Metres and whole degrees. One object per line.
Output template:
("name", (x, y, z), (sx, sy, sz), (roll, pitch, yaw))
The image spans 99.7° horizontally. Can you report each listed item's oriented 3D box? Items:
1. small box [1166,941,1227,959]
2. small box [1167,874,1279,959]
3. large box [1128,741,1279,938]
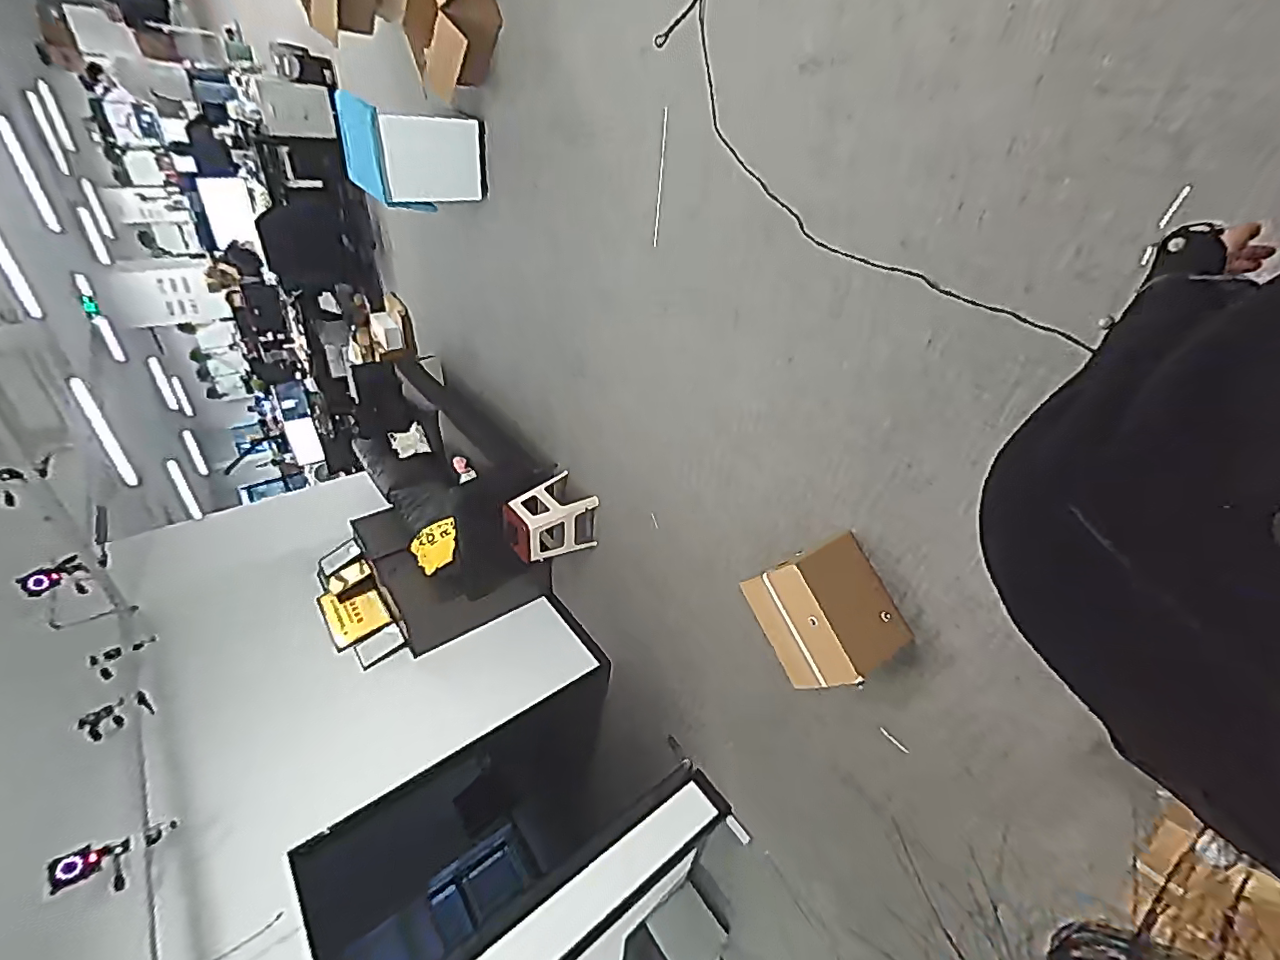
("small box", (0.972, 0.930, 0.900), (0.179, 0.176, 0.168), (25, 126, 47))
("small box", (1.103, 0.881, 0.985), (0.168, 0.176, 0.179), (27, 128, 47))
("large box", (1.321, 0.833, 1.092), (0.408, 0.320, 0.320), (24, 128, 46))
